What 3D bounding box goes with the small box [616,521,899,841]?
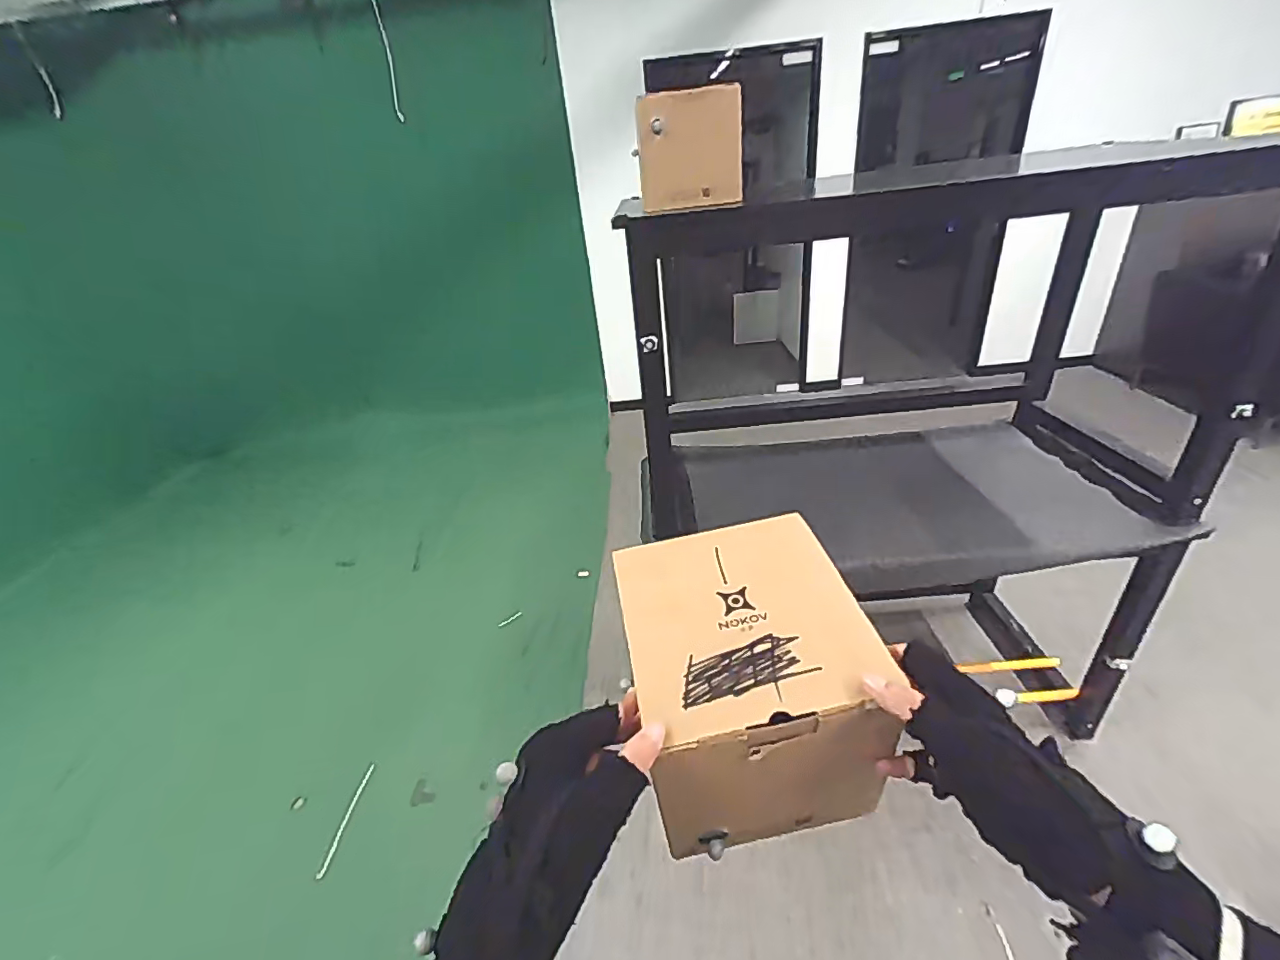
[{"bbox_3d":[0.082,0.164,0.443,0.168,0.176,0.179,-11,36,-3],"label":"small box"}]
